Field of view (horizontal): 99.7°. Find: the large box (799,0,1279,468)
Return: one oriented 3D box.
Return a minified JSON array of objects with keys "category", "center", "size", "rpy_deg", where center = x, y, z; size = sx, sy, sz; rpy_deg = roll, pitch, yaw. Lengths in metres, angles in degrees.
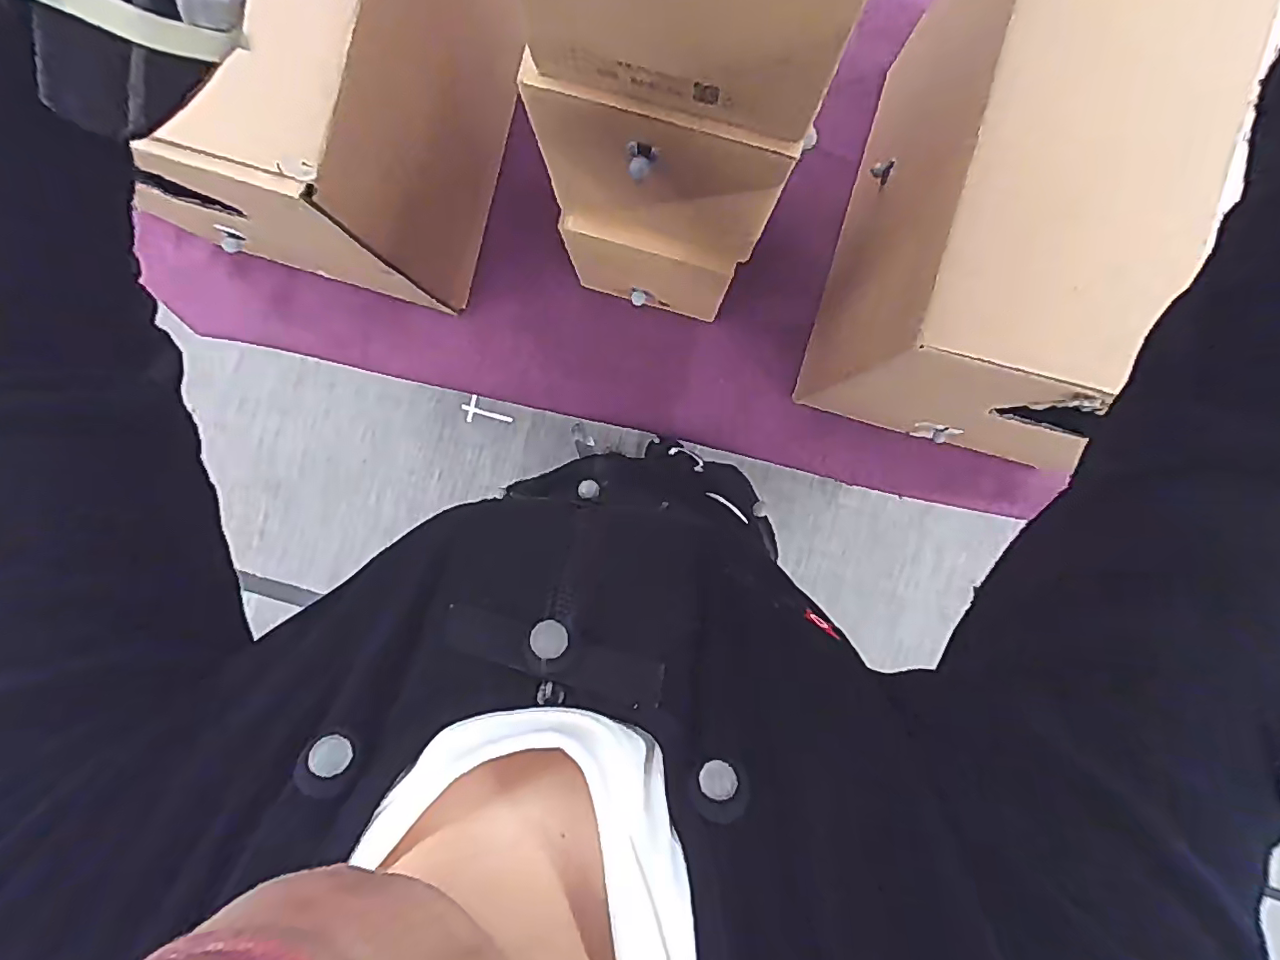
[{"category":"large box","center":[0.372,-0.238,0.486],"size":[0.320,0.320,0.408],"rpy_deg":[15,91,1]}]
